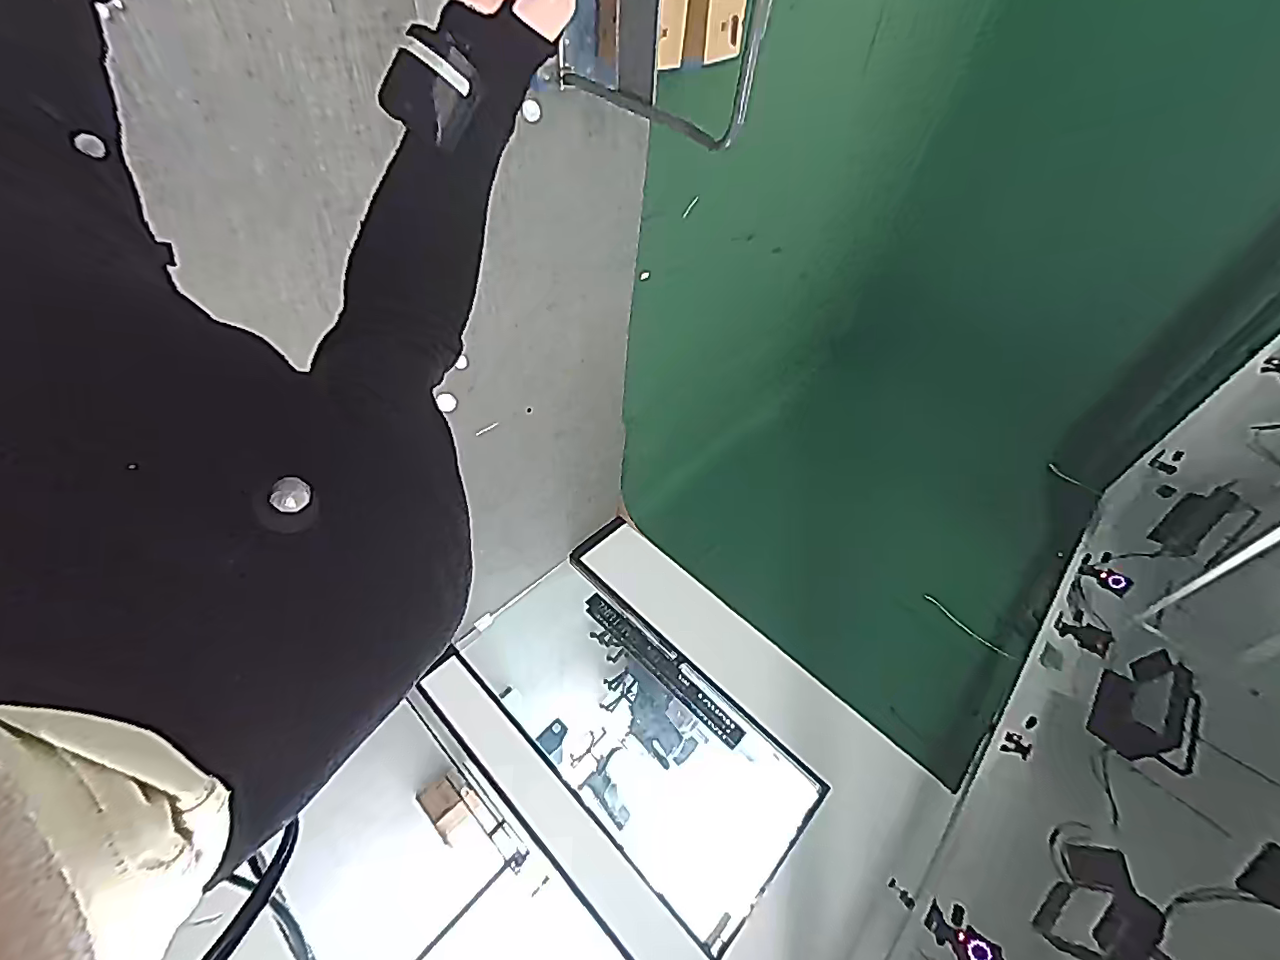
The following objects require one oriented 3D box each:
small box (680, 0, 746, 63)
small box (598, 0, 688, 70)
[{"bbox_3d":[0.194,-1.397,1.637,0.179,0.176,0.168,-36,151,-27],"label":"small box"},{"bbox_3d":[0.005,-1.264,1.498,0.179,0.176,0.168,-34,150,-32],"label":"small box"}]
